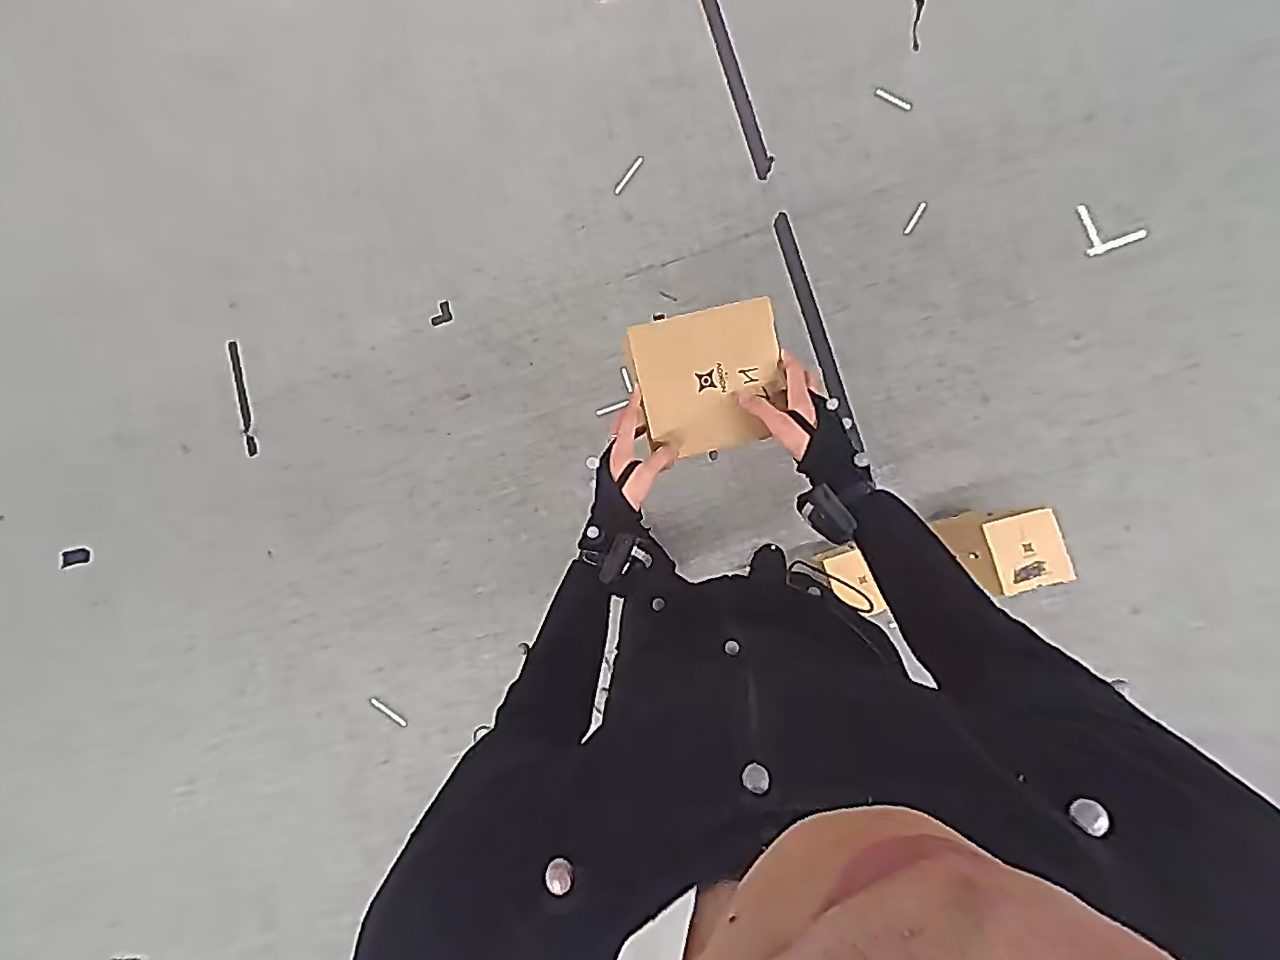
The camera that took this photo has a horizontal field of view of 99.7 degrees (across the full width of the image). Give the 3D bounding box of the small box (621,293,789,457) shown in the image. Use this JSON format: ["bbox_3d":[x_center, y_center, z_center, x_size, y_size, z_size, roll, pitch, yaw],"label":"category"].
[{"bbox_3d":[0.076,-0.130,0.718,0.179,0.176,0.168,-13,97,-2],"label":"small box"}]

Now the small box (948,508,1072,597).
[{"bbox_3d":[0.901,0.174,1.333,0.168,0.176,0.179,-15,83,3],"label":"small box"}]

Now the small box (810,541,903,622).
[{"bbox_3d":[0.596,0.279,1.516,0.168,0.176,0.179,-19,84,3],"label":"small box"}]
